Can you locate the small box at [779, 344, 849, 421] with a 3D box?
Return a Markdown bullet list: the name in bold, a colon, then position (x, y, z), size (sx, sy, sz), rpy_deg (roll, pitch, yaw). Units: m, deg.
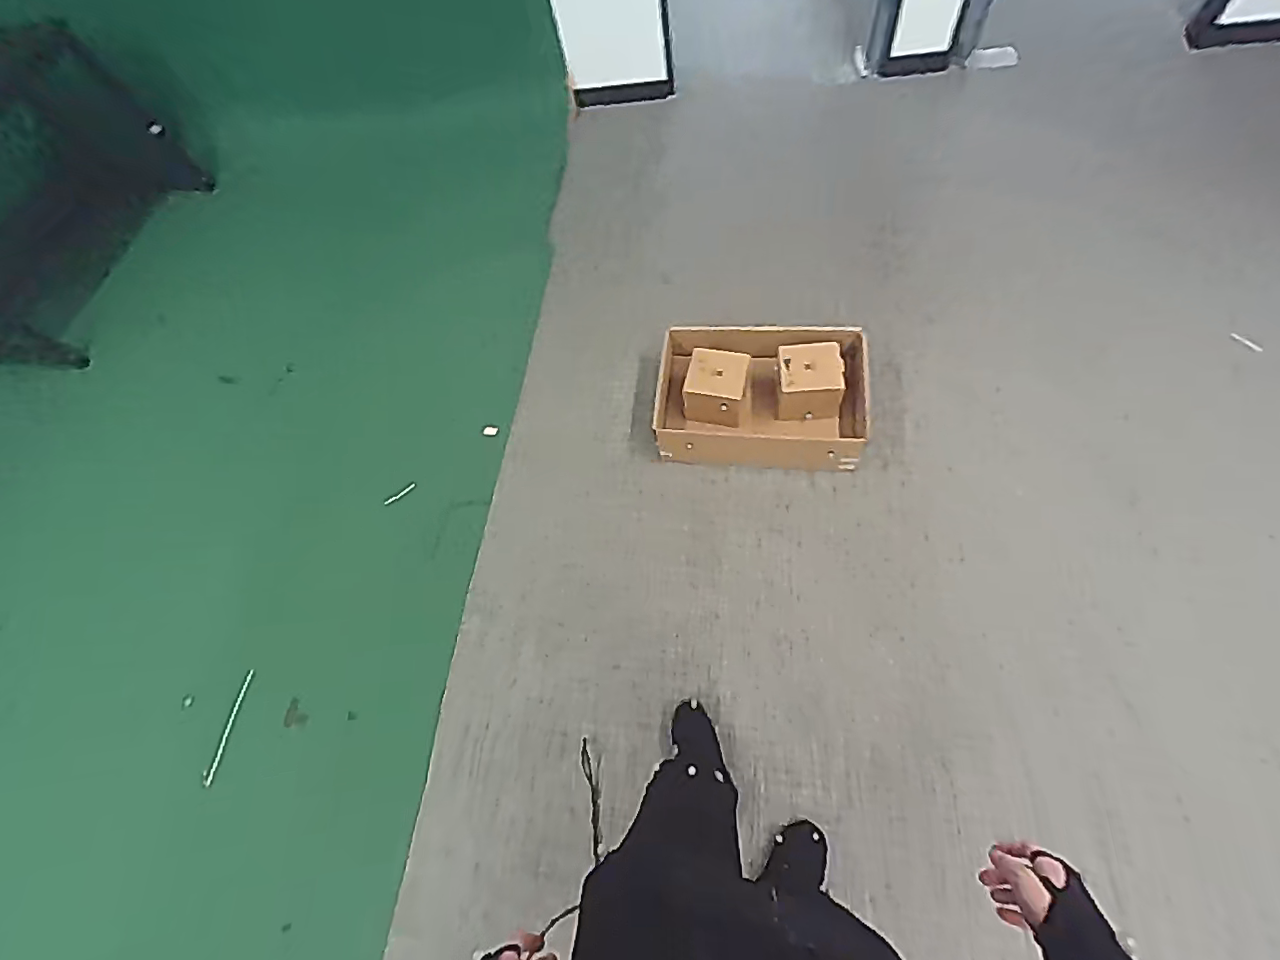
- **small box**: position (0.519, -0.290, 1.637), size (0.179, 0.176, 0.168), rpy_deg (-1, 65, 10)
